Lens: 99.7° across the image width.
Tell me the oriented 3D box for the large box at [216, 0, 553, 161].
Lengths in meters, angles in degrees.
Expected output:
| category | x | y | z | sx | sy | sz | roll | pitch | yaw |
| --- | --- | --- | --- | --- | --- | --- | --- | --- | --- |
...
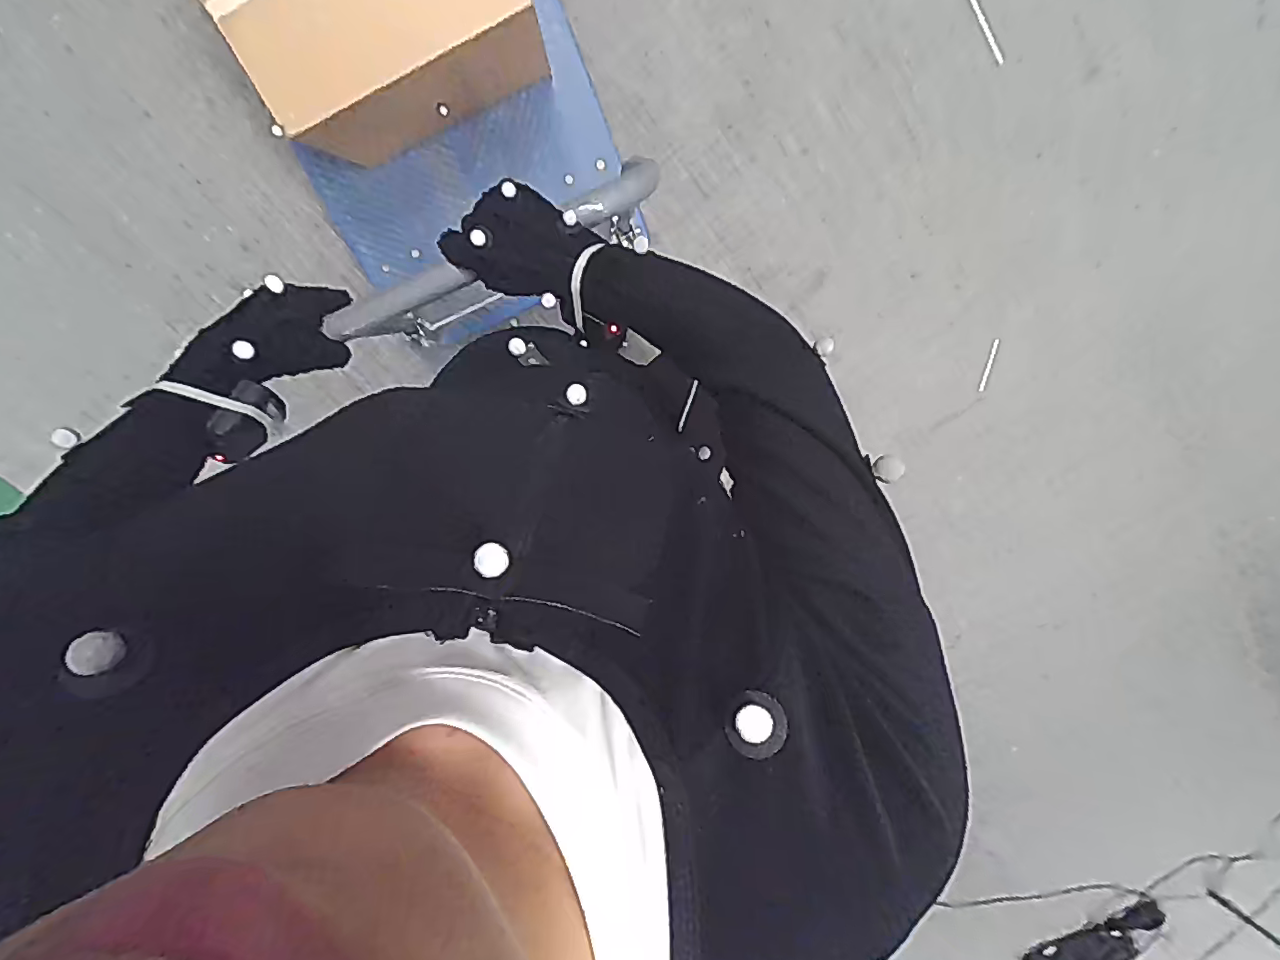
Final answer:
| category | x | y | z | sx | sy | sz | roll | pitch | yaw |
| --- | --- | --- | --- | --- | --- | --- | --- | --- | --- |
| large box | -0.391 | -0.767 | 0.848 | 0.408 | 0.320 | 0.320 | -24 | 113 | 6 |
